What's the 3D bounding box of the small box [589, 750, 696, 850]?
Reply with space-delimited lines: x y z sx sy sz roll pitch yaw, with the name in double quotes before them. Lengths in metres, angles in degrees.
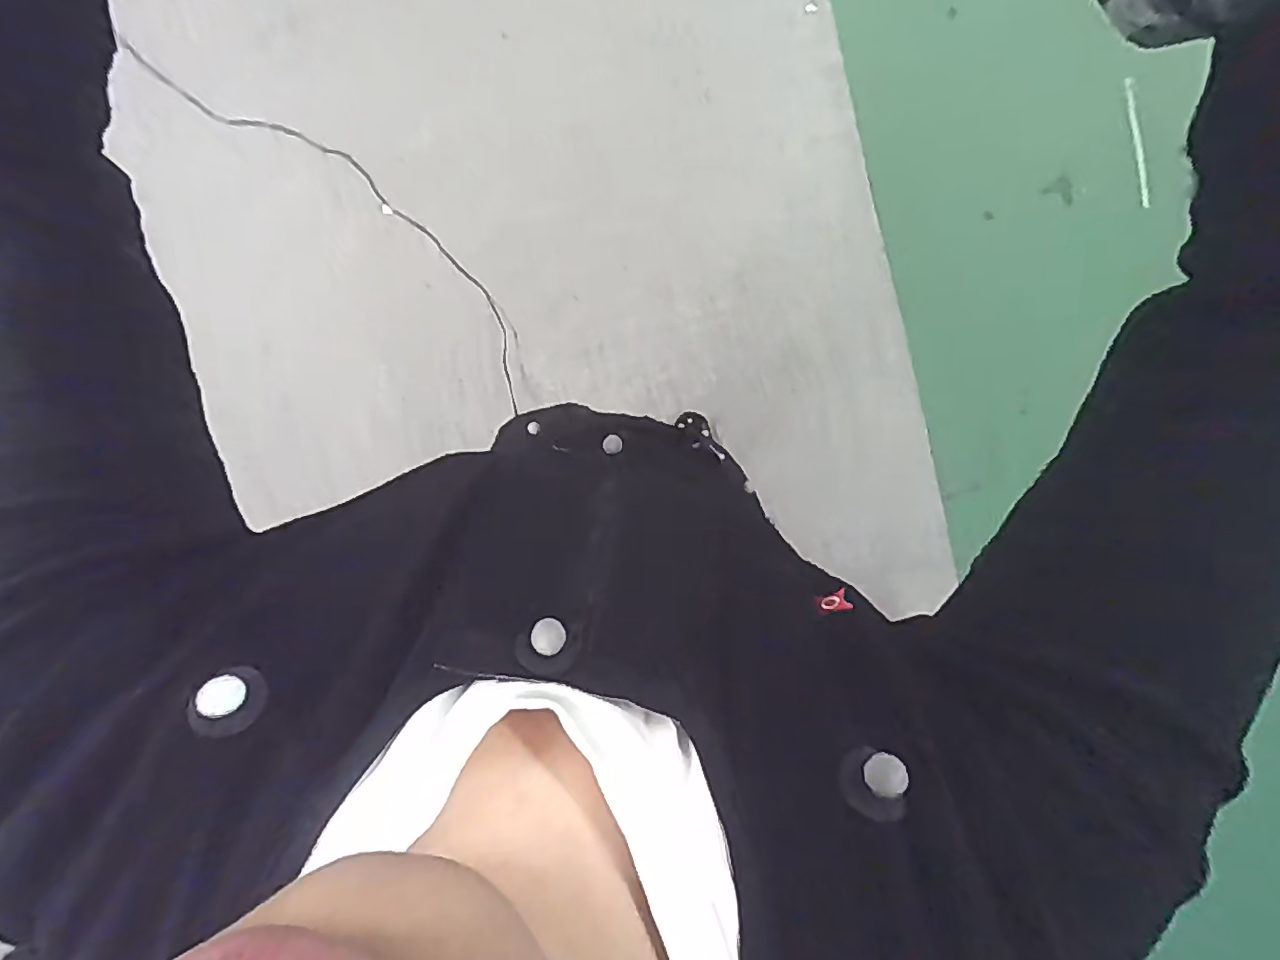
"small box" 0.008 0.638 1.022 0.168 0.176 0.179 -13 97 3
